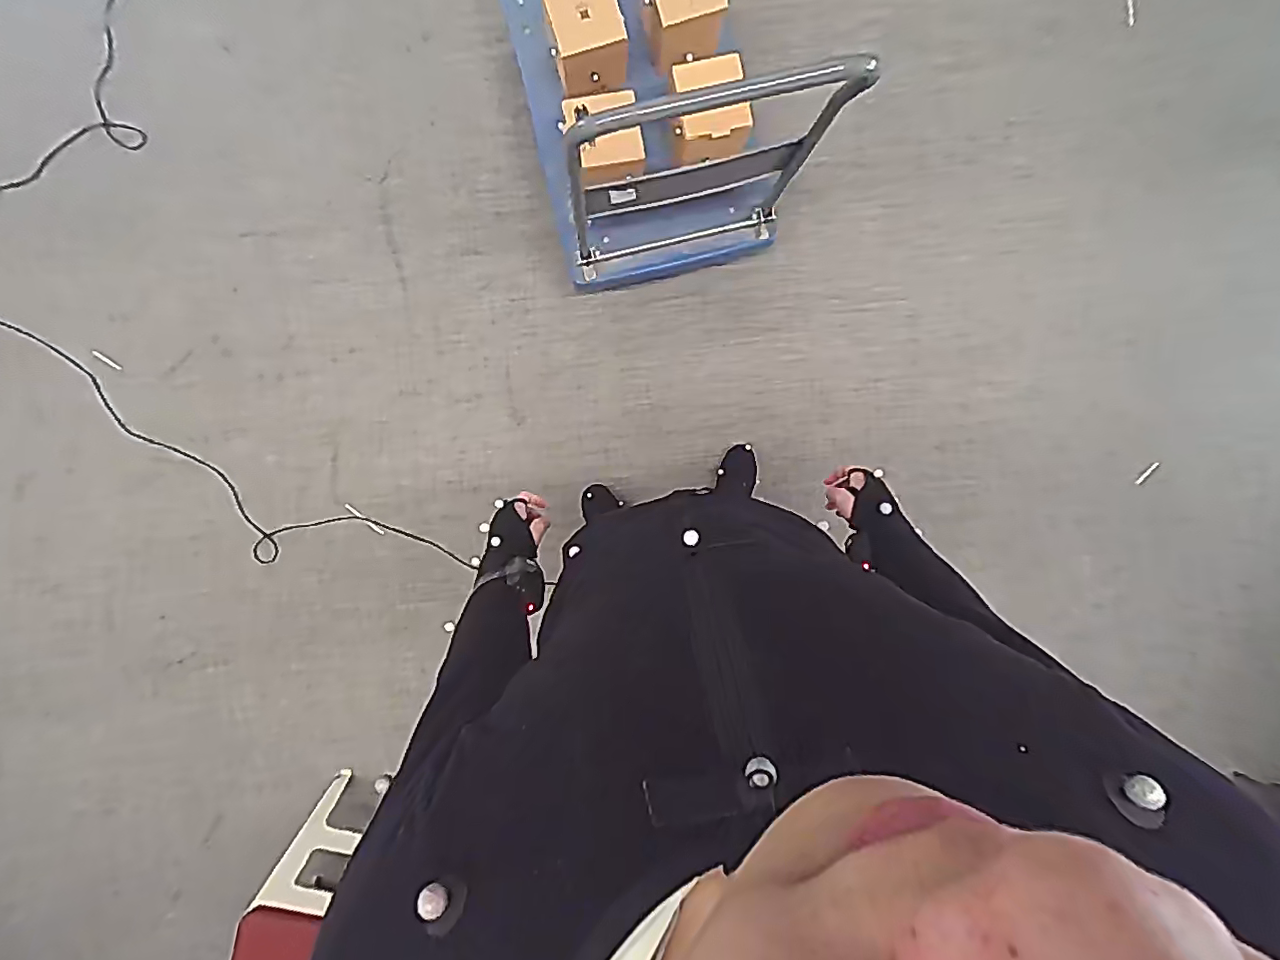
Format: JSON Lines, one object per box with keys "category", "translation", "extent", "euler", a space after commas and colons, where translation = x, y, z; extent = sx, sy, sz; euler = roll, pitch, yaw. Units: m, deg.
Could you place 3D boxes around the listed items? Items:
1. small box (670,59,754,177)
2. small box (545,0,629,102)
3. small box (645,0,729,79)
{"category": "small box", "translation": [0.177, -0.915, 1.380], "extent": [0.168, 0.176, 0.179], "euler": [-13, 92, -1]}
{"category": "small box", "translation": [-0.128, -1.100, 1.368], "extent": [0.168, 0.176, 0.179], "euler": [-17, 92, -2]}
{"category": "small box", "translation": [0.112, -1.177, 1.371], "extent": [0.168, 0.176, 0.179], "euler": [-17, 92, 0]}
